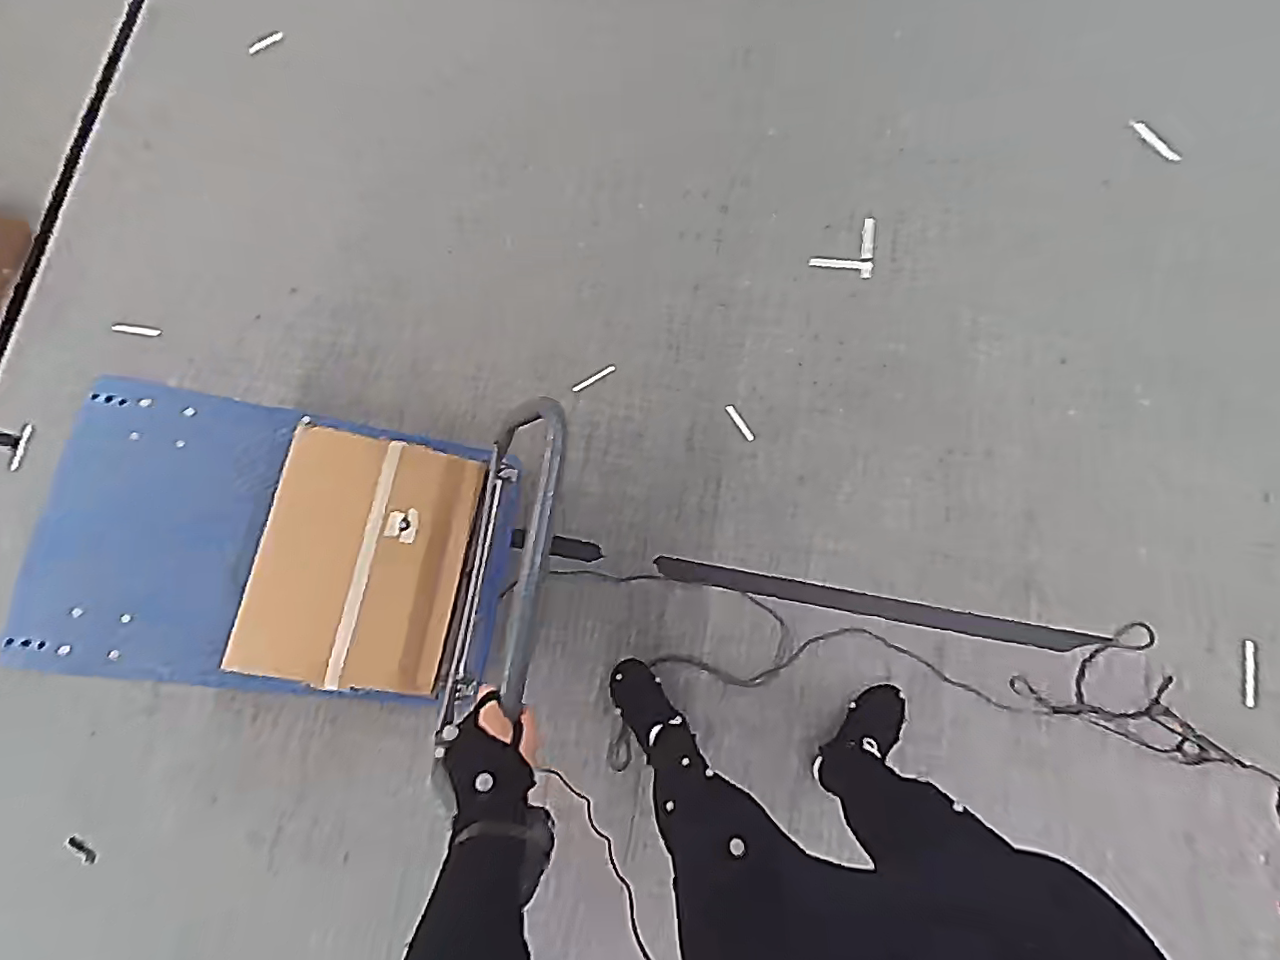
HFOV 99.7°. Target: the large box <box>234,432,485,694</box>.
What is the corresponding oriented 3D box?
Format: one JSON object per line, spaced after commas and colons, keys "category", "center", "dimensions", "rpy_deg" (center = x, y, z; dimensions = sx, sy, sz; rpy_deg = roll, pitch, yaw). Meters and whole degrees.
{"category": "large box", "center": [-0.496, 0.164, 1.050], "dimensions": [0.320, 0.320, 0.408], "rpy_deg": [13, 78, -14]}
